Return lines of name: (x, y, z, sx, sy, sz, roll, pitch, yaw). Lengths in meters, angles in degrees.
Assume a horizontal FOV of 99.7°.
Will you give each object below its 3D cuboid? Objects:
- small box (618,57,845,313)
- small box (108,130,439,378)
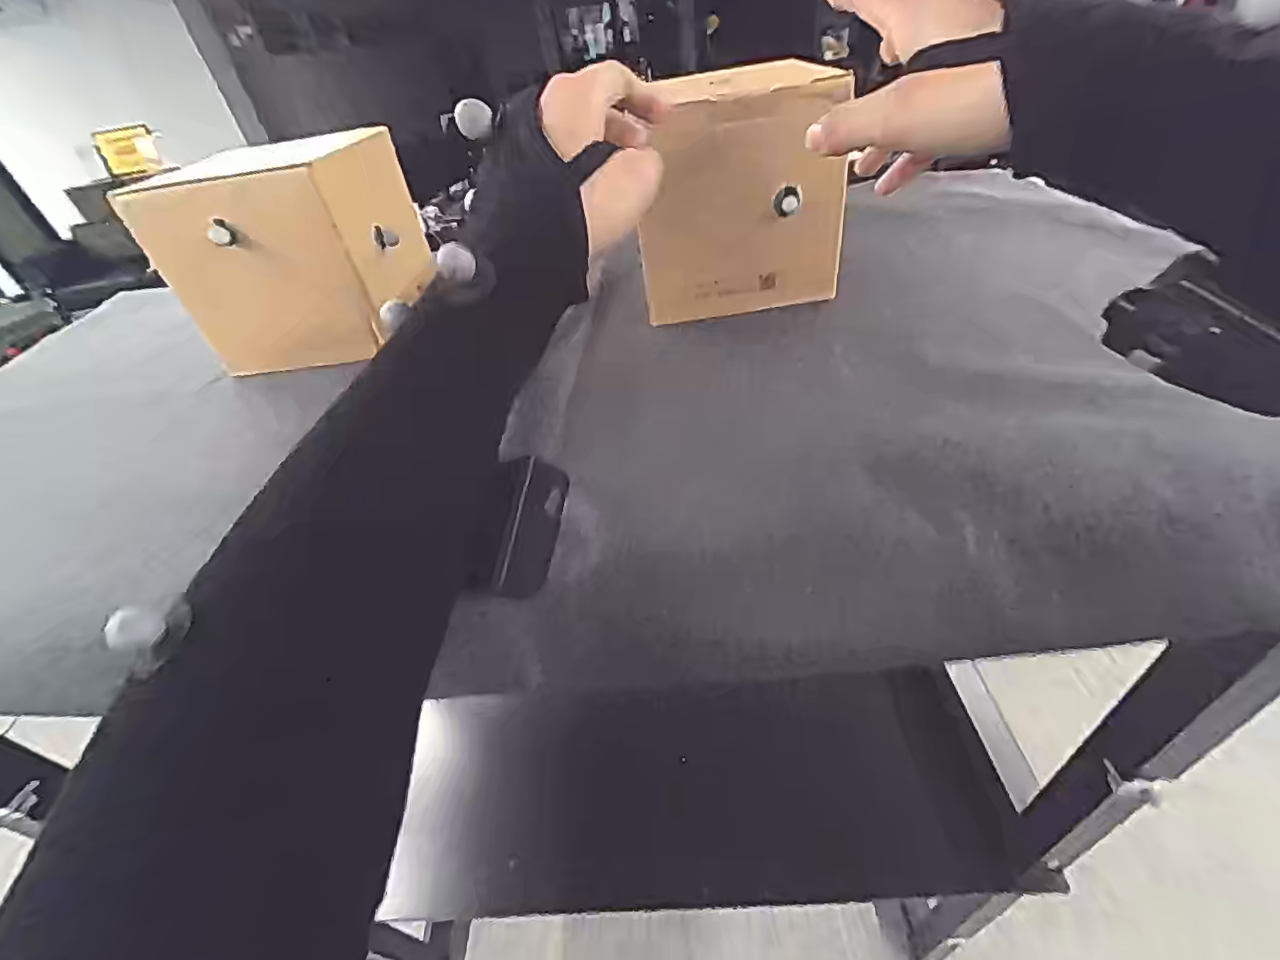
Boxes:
small box: (0.074, -0.264, 0.497, 0.168, 0.176, 0.179, -7, 41, 3)
small box: (-0.324, -0.218, 0.529, 0.179, 0.176, 0.168, -6, 41, 5)
